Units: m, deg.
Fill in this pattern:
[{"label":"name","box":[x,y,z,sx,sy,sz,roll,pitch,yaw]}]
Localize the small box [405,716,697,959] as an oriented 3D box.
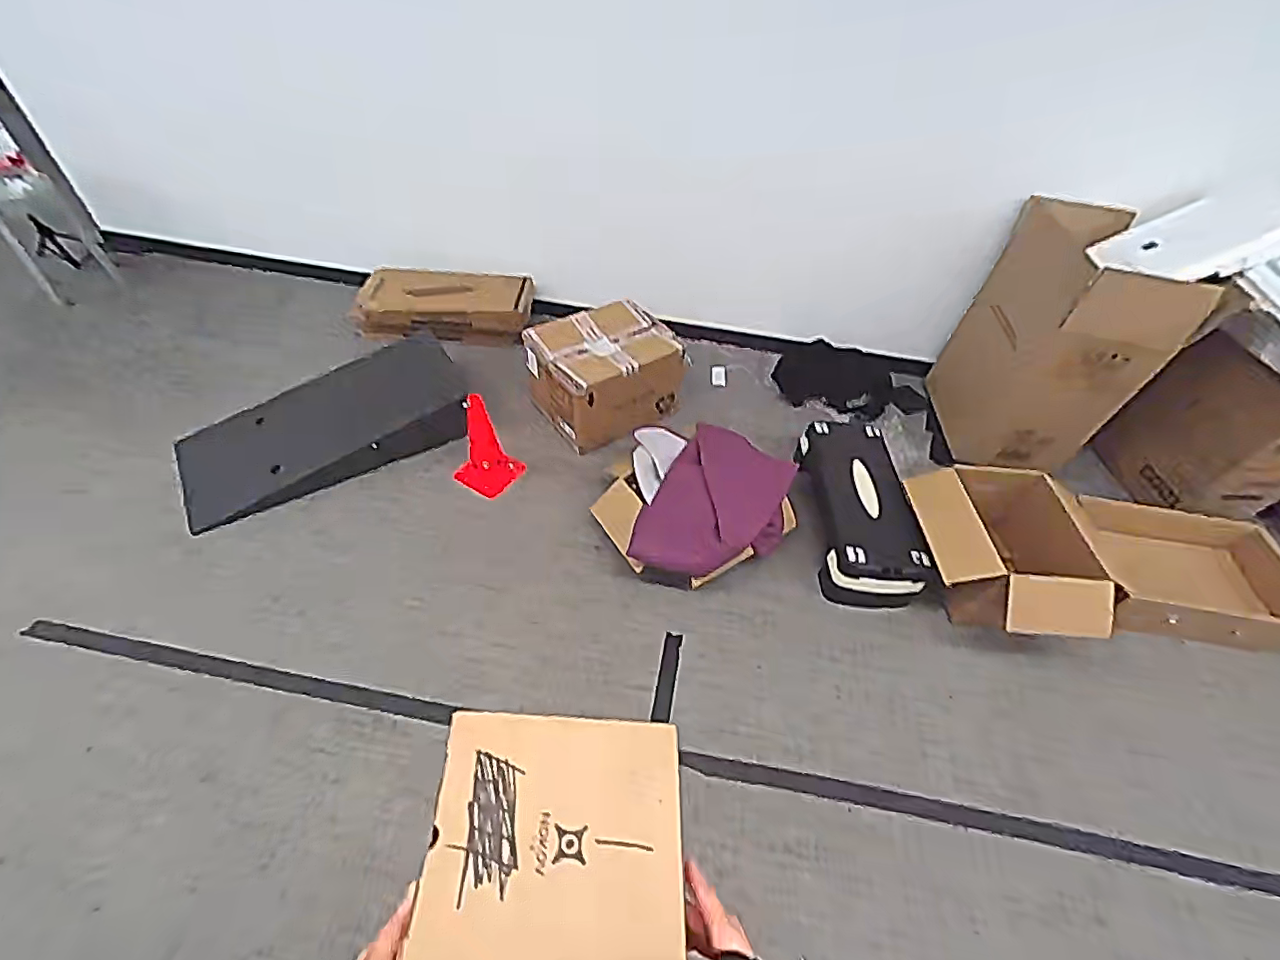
[{"label":"small box","box":[-0.064,0.301,0.418,0.179,0.176,0.168,8,47,-8]}]
